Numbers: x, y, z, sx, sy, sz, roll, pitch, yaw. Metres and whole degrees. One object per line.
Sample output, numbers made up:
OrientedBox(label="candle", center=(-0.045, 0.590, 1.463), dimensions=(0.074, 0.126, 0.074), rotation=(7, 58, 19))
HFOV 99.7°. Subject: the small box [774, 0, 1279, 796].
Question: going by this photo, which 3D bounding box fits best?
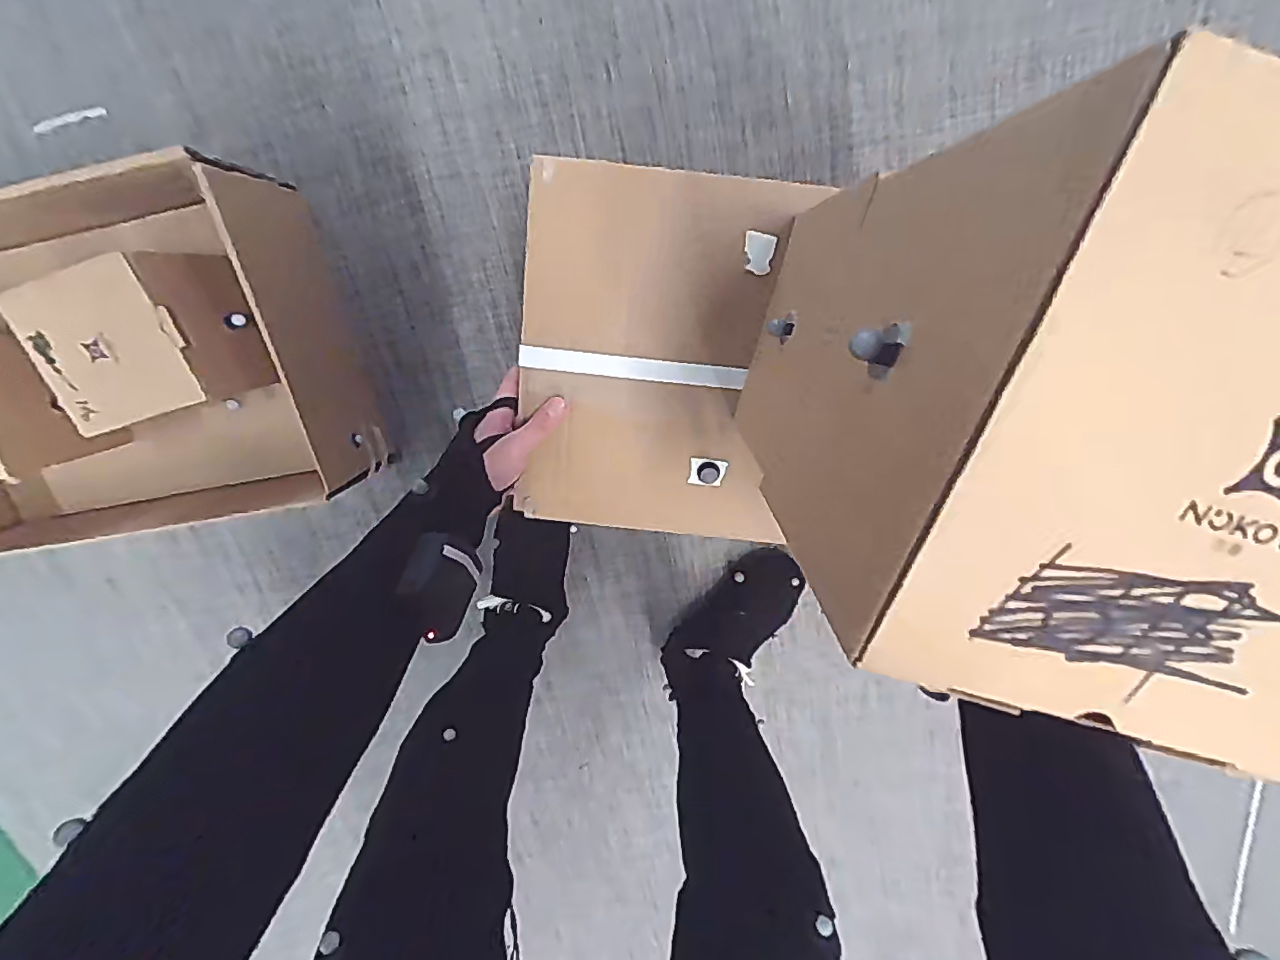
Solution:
OrientedBox(label="small box", center=(0.166, -0.023, 0.214), dimensions=(0.168, 0.176, 0.179), rotation=(16, 108, -4))
